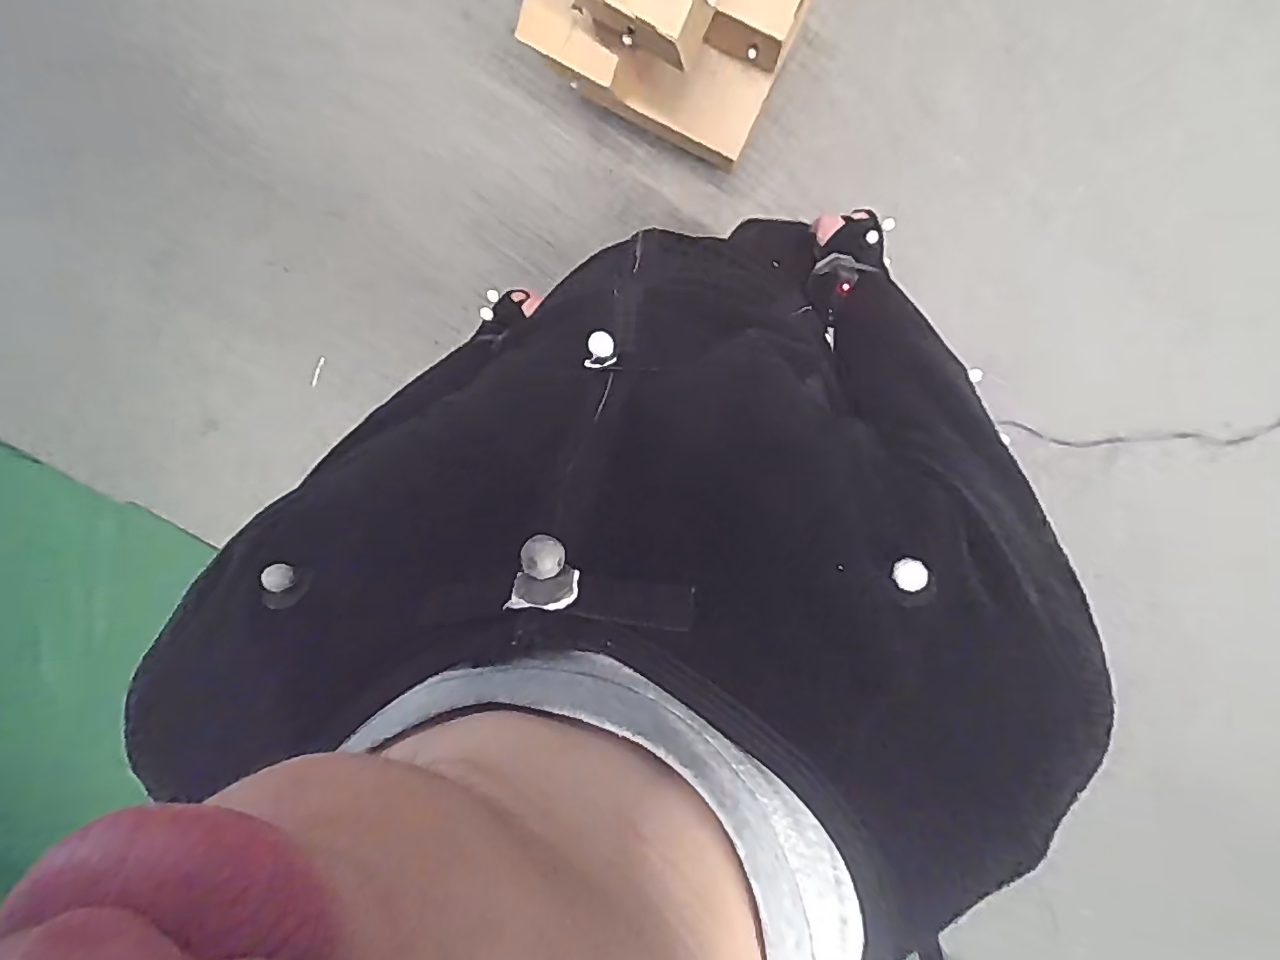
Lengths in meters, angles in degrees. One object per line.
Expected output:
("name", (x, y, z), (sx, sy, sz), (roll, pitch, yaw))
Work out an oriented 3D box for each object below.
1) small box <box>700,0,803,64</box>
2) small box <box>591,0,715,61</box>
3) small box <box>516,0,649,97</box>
("small box", (0.173, -0.777, 0.826), (0.179, 0.176, 0.168), (24, 114, -1))
("small box", (0.024, -0.693, 0.703), (0.168, 0.176, 0.179), (28, 118, -4))
("small box", (-0.073, -0.761, 0.871), (0.168, 0.176, 0.179), (27, 119, -4))
